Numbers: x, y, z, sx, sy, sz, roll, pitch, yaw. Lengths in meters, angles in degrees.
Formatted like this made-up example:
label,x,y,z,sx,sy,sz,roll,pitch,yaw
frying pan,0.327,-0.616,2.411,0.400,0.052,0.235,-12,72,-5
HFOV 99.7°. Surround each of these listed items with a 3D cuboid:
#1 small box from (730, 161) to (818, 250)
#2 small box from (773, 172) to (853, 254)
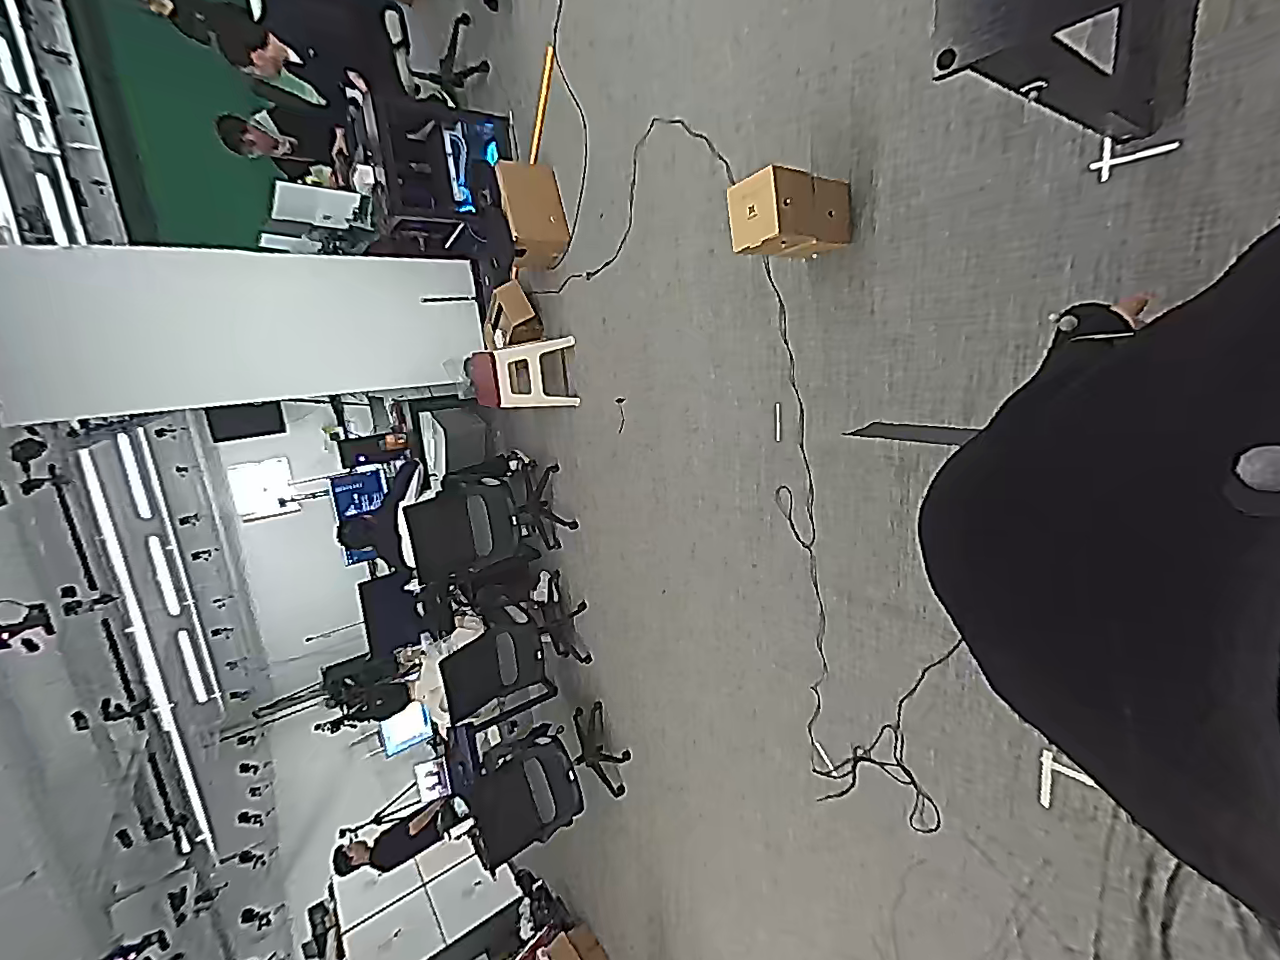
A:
label,x,y,z,sx,sy,sz,roll,pitch,yaw
small box,0.374,-0.749,1.498,0.168,0.176,0.179,3,103,54
small box,0.507,-0.775,1.589,0.168,0.176,0.179,9,109,54
